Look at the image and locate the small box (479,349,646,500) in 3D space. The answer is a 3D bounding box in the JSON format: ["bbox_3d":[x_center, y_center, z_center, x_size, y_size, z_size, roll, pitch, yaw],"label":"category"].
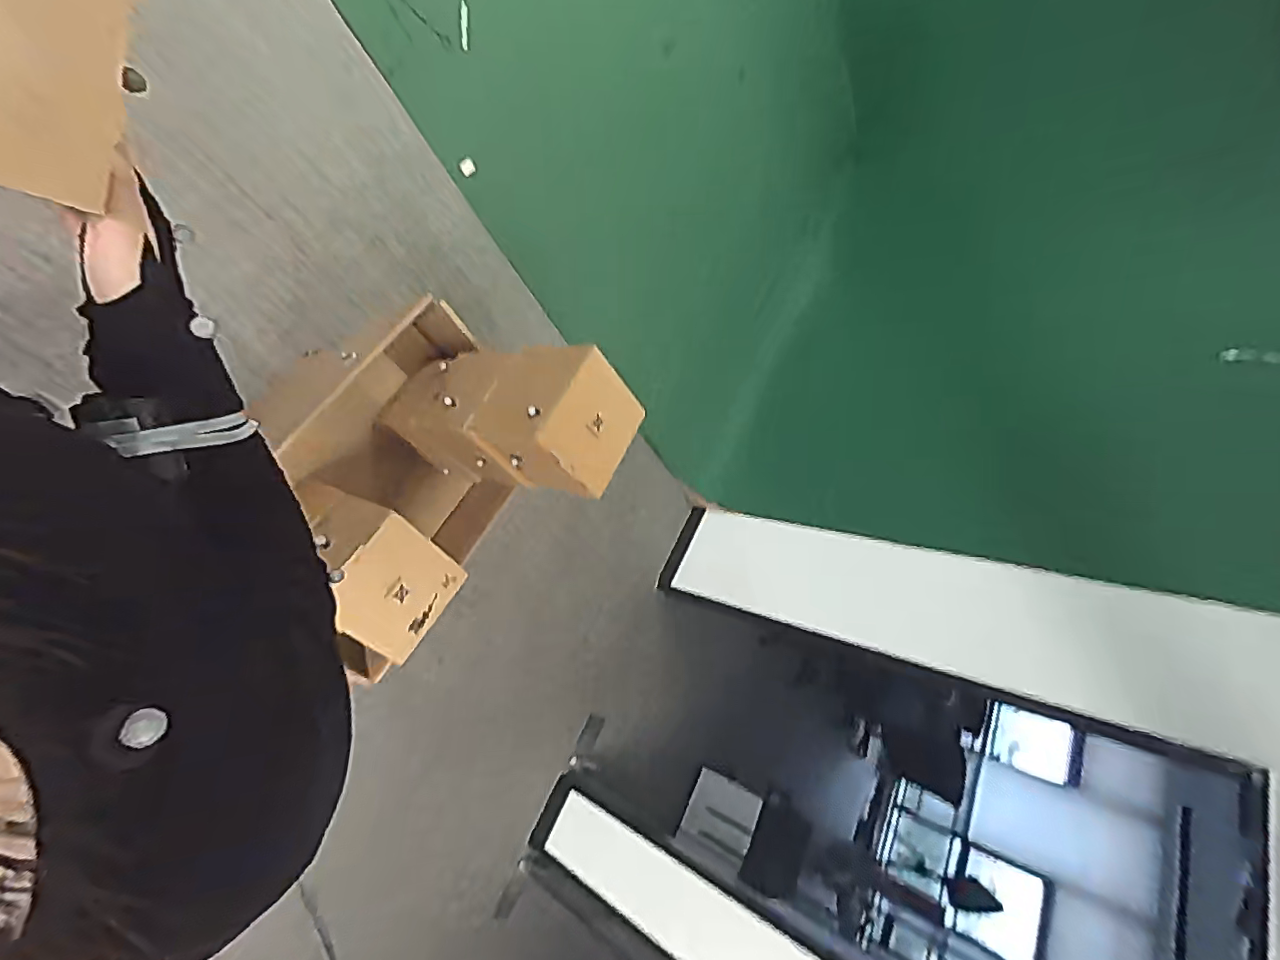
[{"bbox_3d":[-0.125,-0.094,0.875,0.168,0.176,0.179,48,62,-44],"label":"small box"}]

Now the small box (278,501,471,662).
[{"bbox_3d":[-0.410,0.147,0.837,0.168,0.176,0.179,-57,135,-25],"label":"small box"}]

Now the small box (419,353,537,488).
[{"bbox_3d":[-0.256,-0.107,0.971,0.179,0.176,0.168,51,60,-44],"label":"small box"}]
